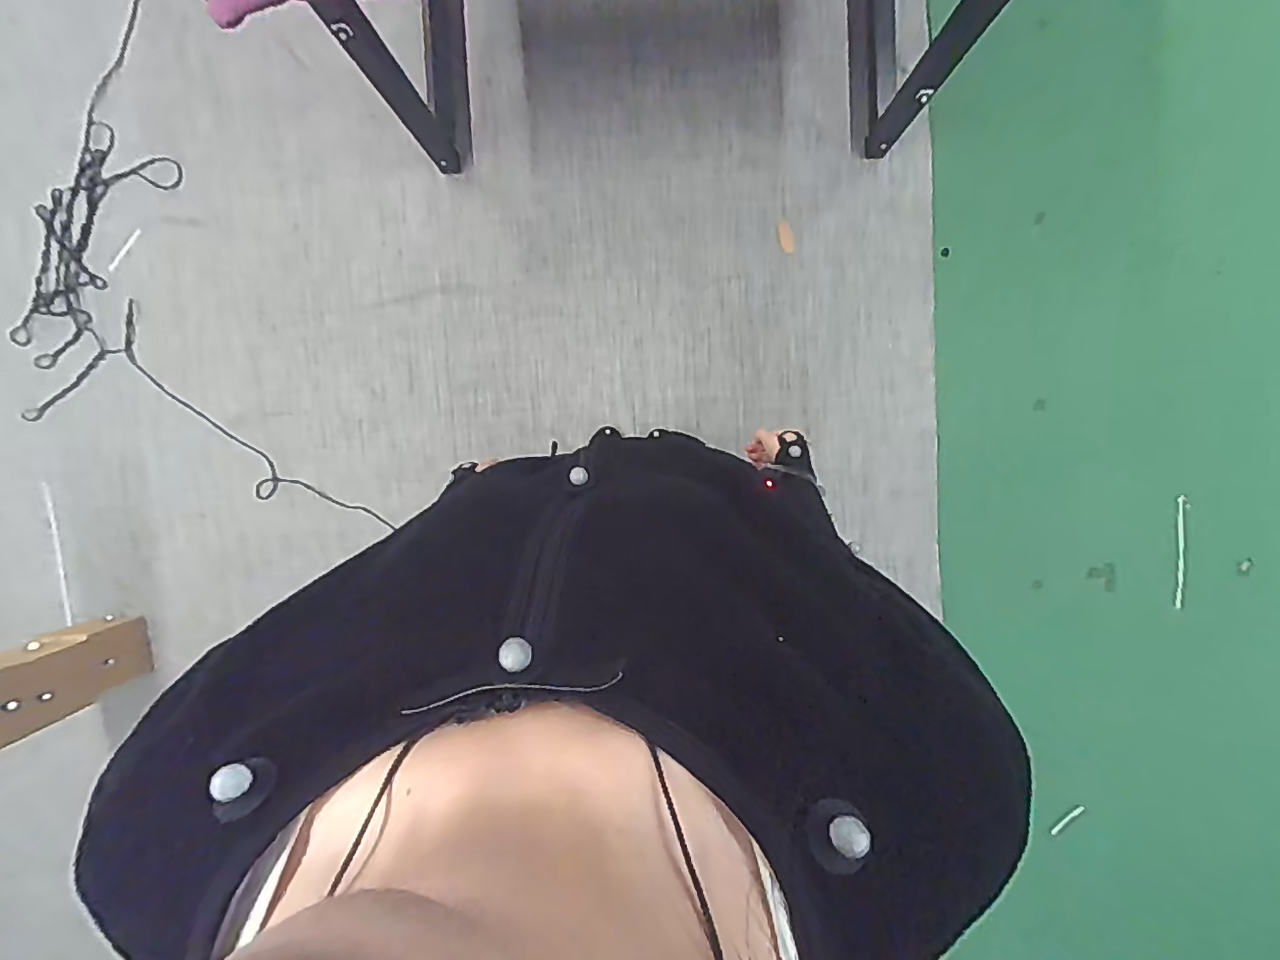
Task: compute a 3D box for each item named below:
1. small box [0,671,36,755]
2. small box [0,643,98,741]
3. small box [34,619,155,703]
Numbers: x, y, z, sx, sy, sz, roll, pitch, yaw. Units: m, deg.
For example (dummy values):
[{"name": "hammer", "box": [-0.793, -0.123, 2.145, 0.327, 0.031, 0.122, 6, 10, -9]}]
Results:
[{"name": "small box", "box": [-1.495, 0.530, 1.177, 0.168, 0.176, 0.179, -7, 93, 2]}, {"name": "small box", "box": [-1.506, 0.524, 1.340, 0.168, 0.176, 0.179, -4, 94, 1]}, {"name": "small box", "box": [-1.502, 0.502, 1.502, 0.168, 0.176, 0.179, -5, 93, 2]}]
